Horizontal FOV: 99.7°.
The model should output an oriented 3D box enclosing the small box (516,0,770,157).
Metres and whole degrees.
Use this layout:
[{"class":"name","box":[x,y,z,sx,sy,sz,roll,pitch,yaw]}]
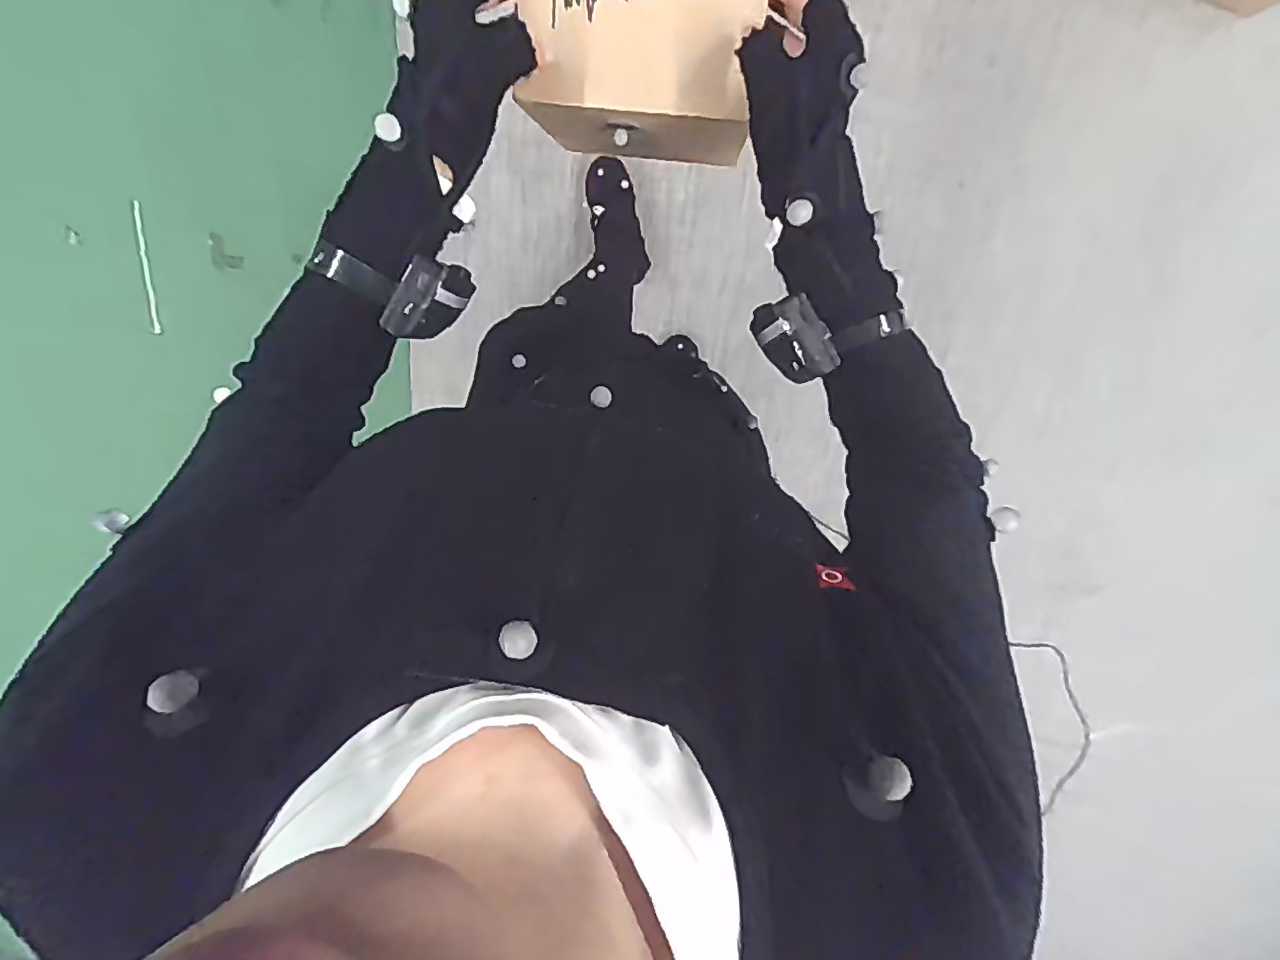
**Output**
[{"class":"small box","box":[0.012,-0.376,0.436,0.179,0.176,0.168,8,111,3]}]
